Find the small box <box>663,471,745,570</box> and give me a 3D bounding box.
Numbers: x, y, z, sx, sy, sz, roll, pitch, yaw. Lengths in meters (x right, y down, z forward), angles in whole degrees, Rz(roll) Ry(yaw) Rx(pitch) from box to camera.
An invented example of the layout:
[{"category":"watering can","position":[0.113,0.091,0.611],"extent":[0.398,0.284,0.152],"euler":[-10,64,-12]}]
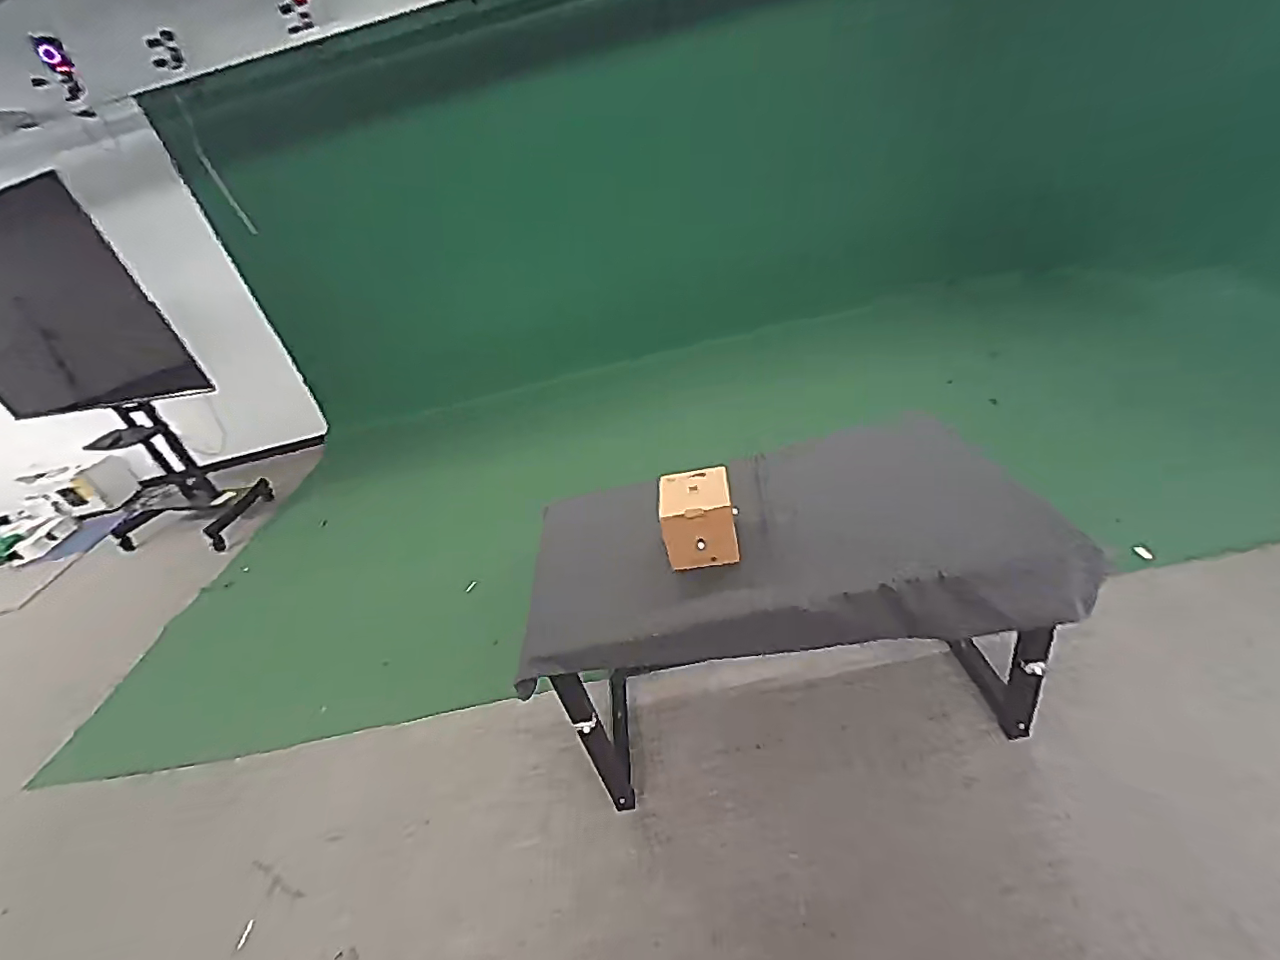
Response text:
[{"category":"small box","position":[0.156,0.105,1.330],"extent":[0.168,0.176,0.179],"euler":[-12,31,8]}]
